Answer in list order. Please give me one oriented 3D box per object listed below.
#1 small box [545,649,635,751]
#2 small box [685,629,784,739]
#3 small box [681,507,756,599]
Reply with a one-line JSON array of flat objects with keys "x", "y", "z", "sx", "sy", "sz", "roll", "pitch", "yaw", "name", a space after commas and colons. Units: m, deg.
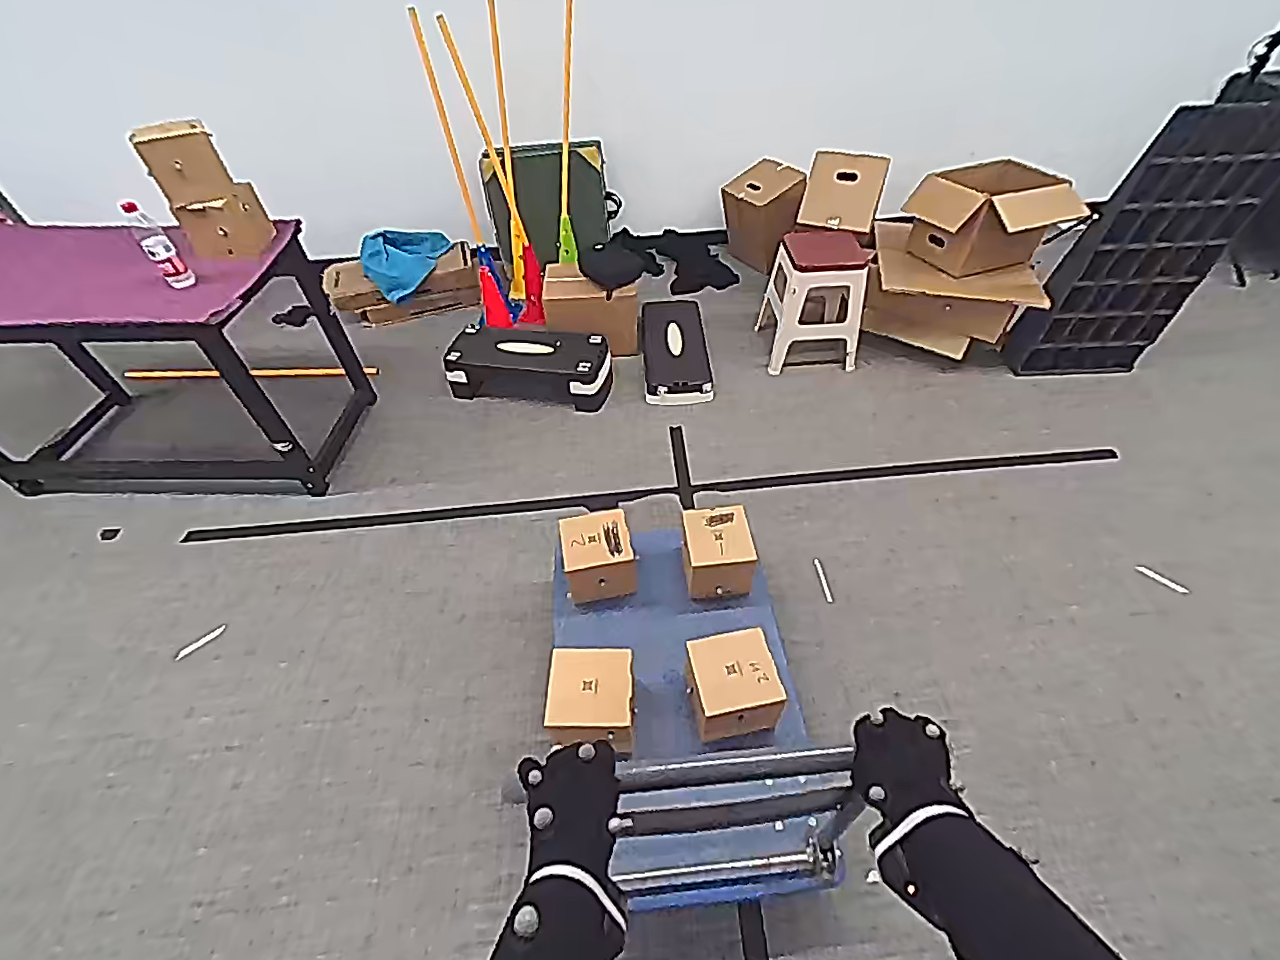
[{"x": -0.103, "y": 0.489, "z": 1.195, "sx": 0.179, "sy": 0.176, "sz": 0.168, "roll": 0, "pitch": 47, "yaw": 1, "name": "small box"}, {"x": 0.202, "y": 0.459, "z": 1.208, "sx": 0.179, "sy": 0.176, "sz": 0.168, "roll": -9, "pitch": 48, "yaw": -6, "name": "small box"}, {"x": 0.201, "y": 0.197, "z": 1.444, "sx": 0.168, "sy": 0.176, "sz": 0.179, "roll": -6, "pitch": 49, "yaw": -2, "name": "small box"}]
